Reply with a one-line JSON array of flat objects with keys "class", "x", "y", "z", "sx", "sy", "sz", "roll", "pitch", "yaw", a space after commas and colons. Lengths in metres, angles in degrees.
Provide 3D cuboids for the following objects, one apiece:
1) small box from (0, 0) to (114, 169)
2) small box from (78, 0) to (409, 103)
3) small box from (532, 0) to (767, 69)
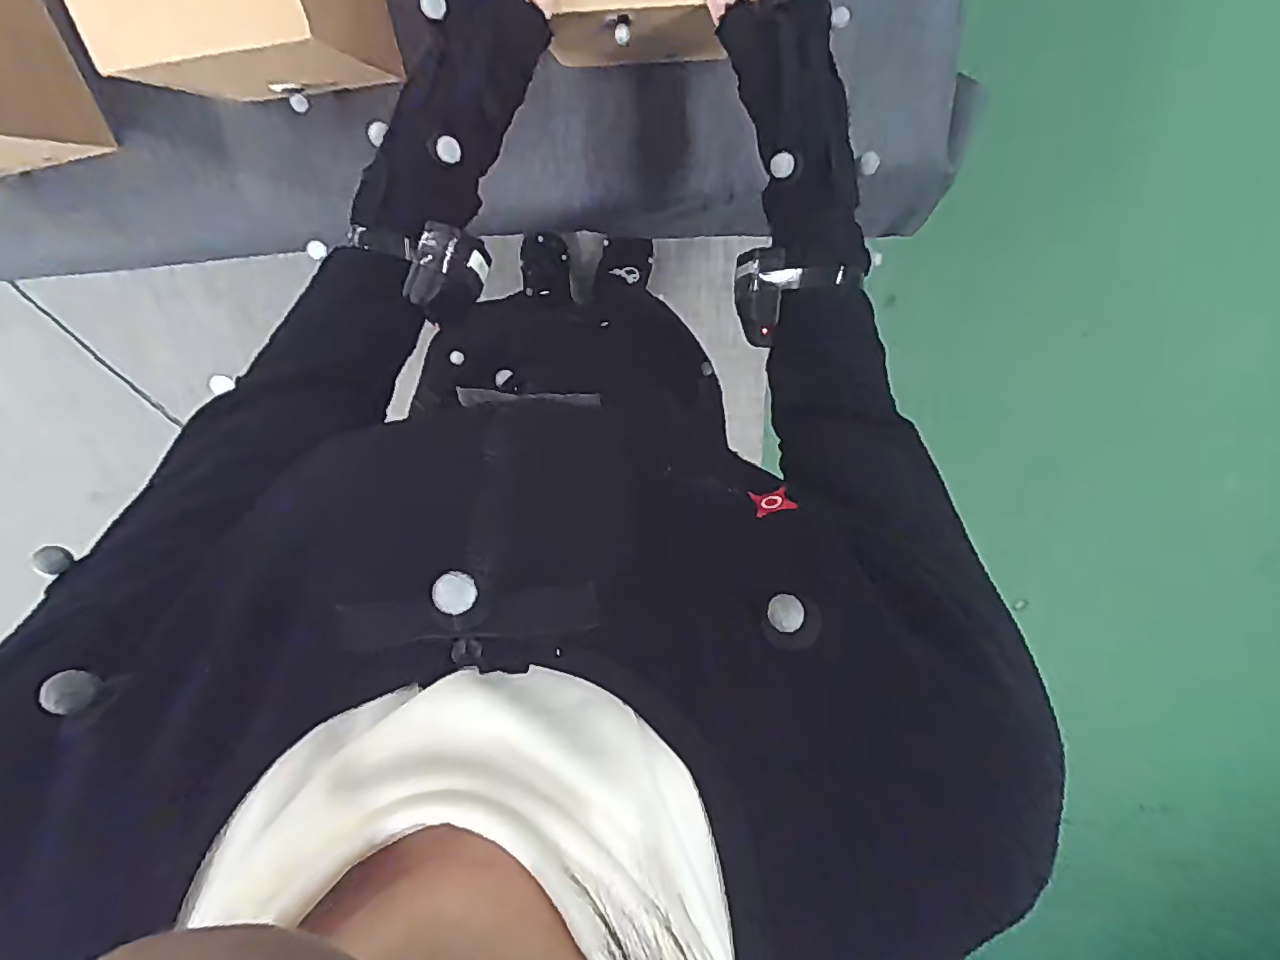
[{"class": "small box", "x": -0.616, "y": -0.367, "z": 0.447, "sx": 0.168, "sy": 0.176, "sz": 0.179, "roll": -8, "pitch": 115, "yaw": 5}, {"class": "small box", "x": -0.311, "y": -0.418, "z": 0.419, "sx": 0.168, "sy": 0.176, "sz": 0.179, "roll": -5, "pitch": 119, "yaw": 5}, {"class": "small box", "x": 0.005, "y": -0.435, "z": 0.400, "sx": 0.168, "sy": 0.176, "sz": 0.179, "roll": -1, "pitch": 117, "yaw": 3}]
